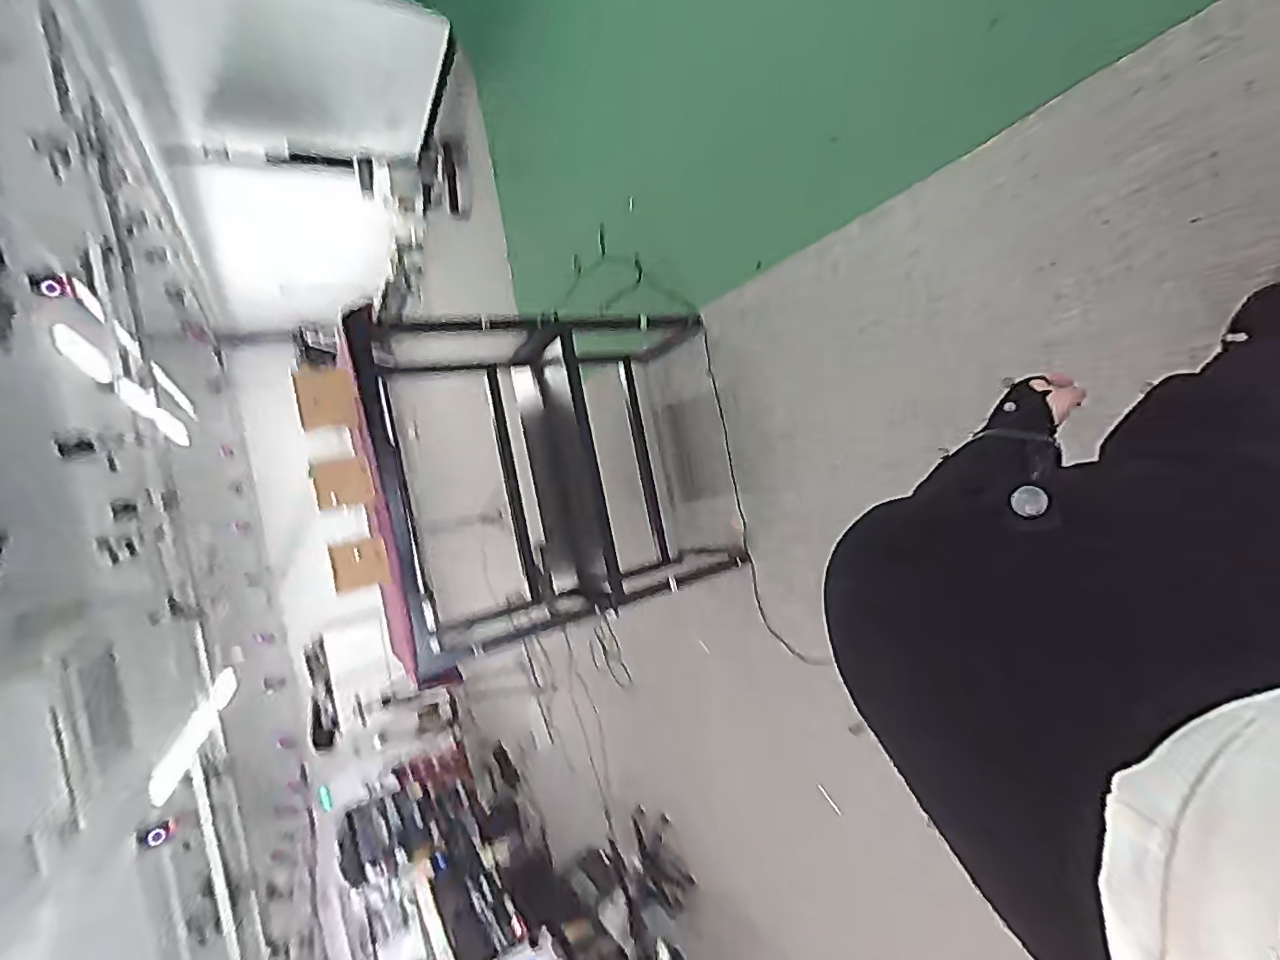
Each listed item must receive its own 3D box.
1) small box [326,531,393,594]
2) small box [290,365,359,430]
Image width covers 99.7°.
[{"bbox_3d":[-0.928,0.267,1.792,0.179,0.176,0.168,-8,92,60],"label":"small box"},{"bbox_3d":[-1.039,-0.274,1.792,0.168,0.176,0.179,-10,91,59],"label":"small box"}]
